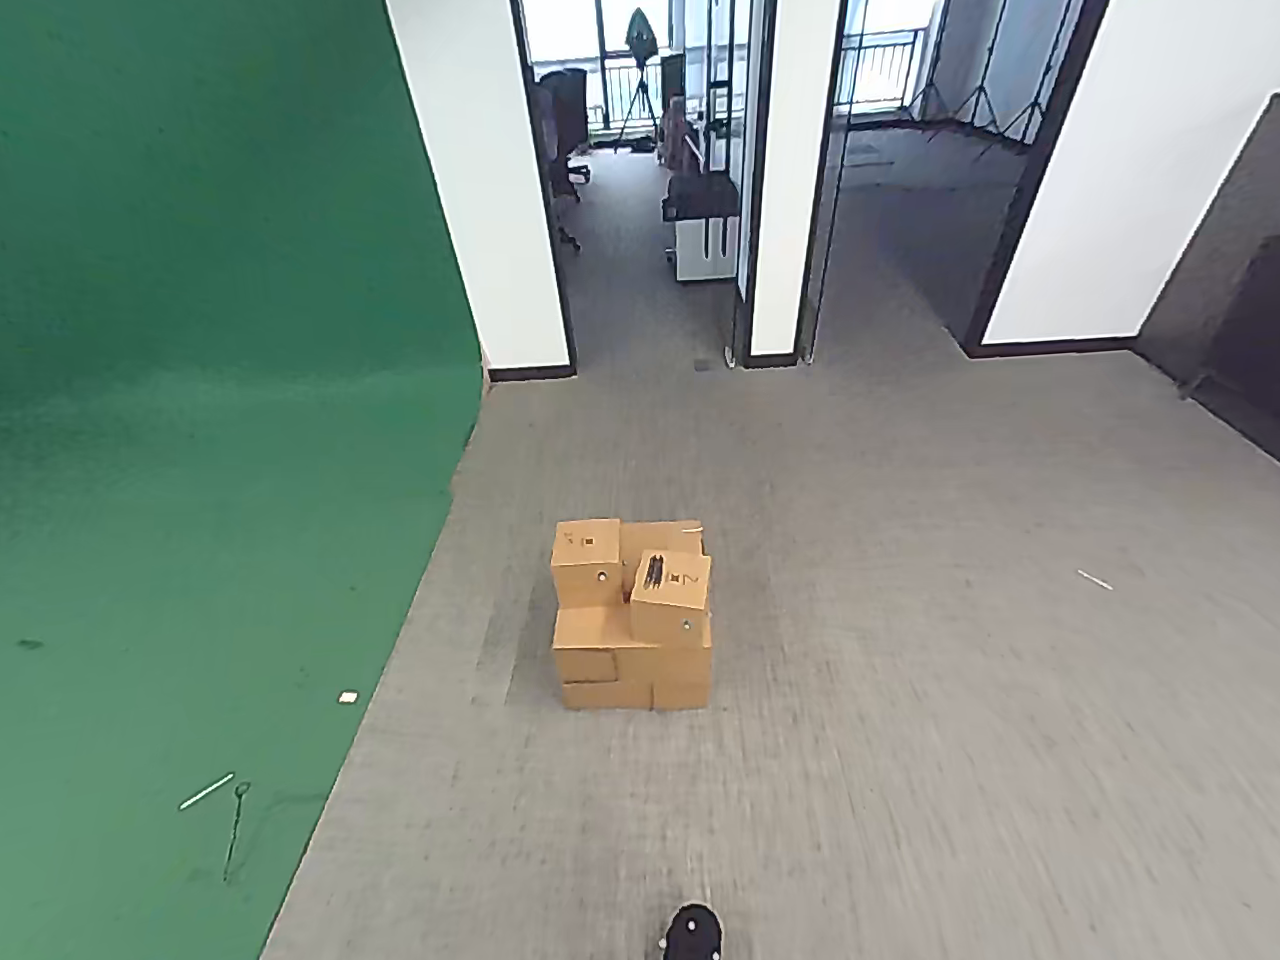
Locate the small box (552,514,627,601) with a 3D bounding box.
[{"bbox_3d":[-0.129,0.210,1.460,0.179,0.176,0.168,-3,39,3],"label":"small box"}]
